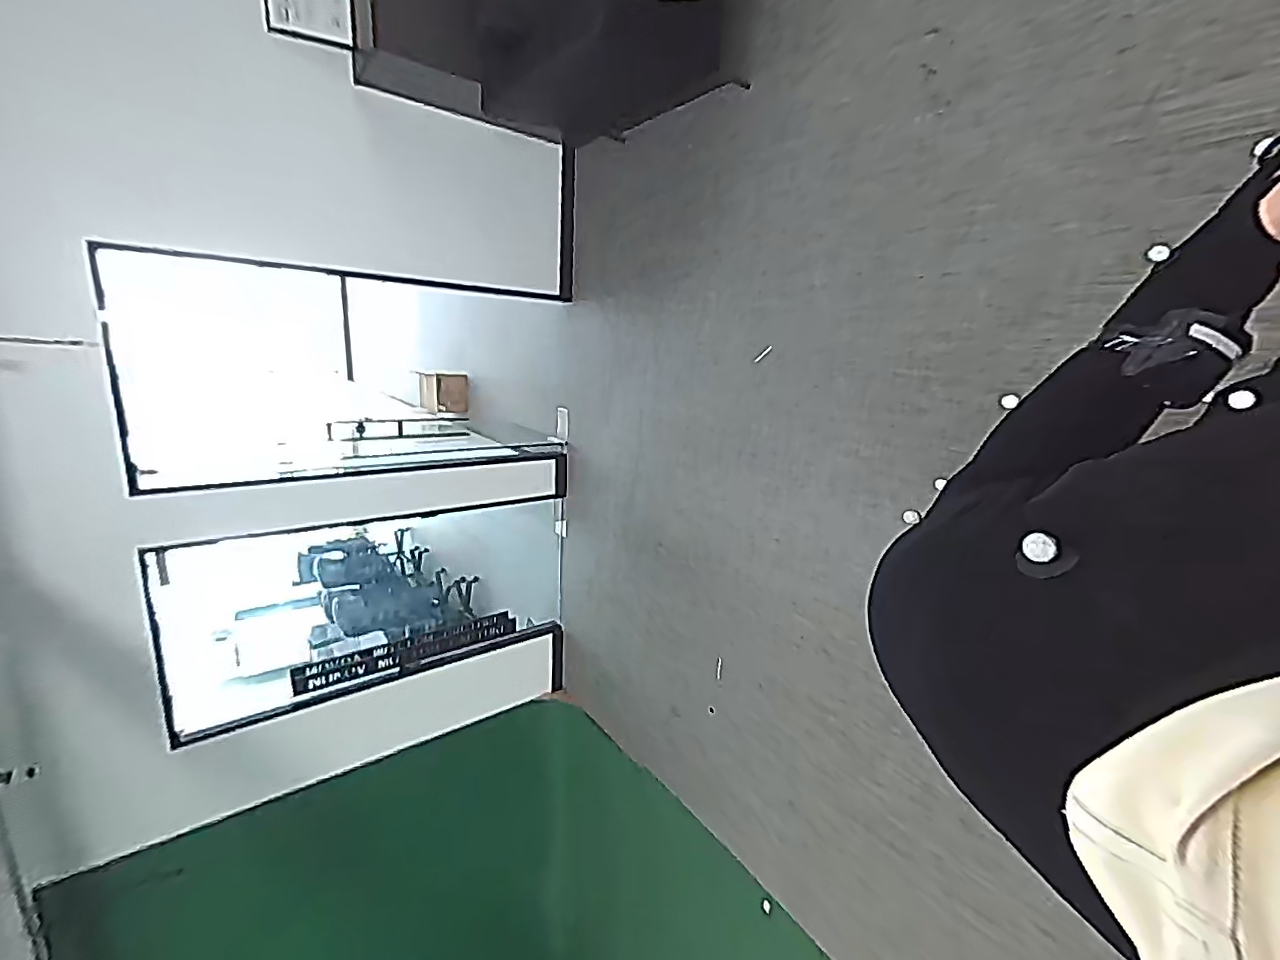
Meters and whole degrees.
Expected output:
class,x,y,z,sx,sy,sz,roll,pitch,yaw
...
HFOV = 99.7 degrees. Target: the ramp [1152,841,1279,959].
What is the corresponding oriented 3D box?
class,x,y,z,sx,sy,sz,roll,pitch,yaw
ramp,1.341,1.357,1.123,0.509,0.206,0.991,17,109,52
